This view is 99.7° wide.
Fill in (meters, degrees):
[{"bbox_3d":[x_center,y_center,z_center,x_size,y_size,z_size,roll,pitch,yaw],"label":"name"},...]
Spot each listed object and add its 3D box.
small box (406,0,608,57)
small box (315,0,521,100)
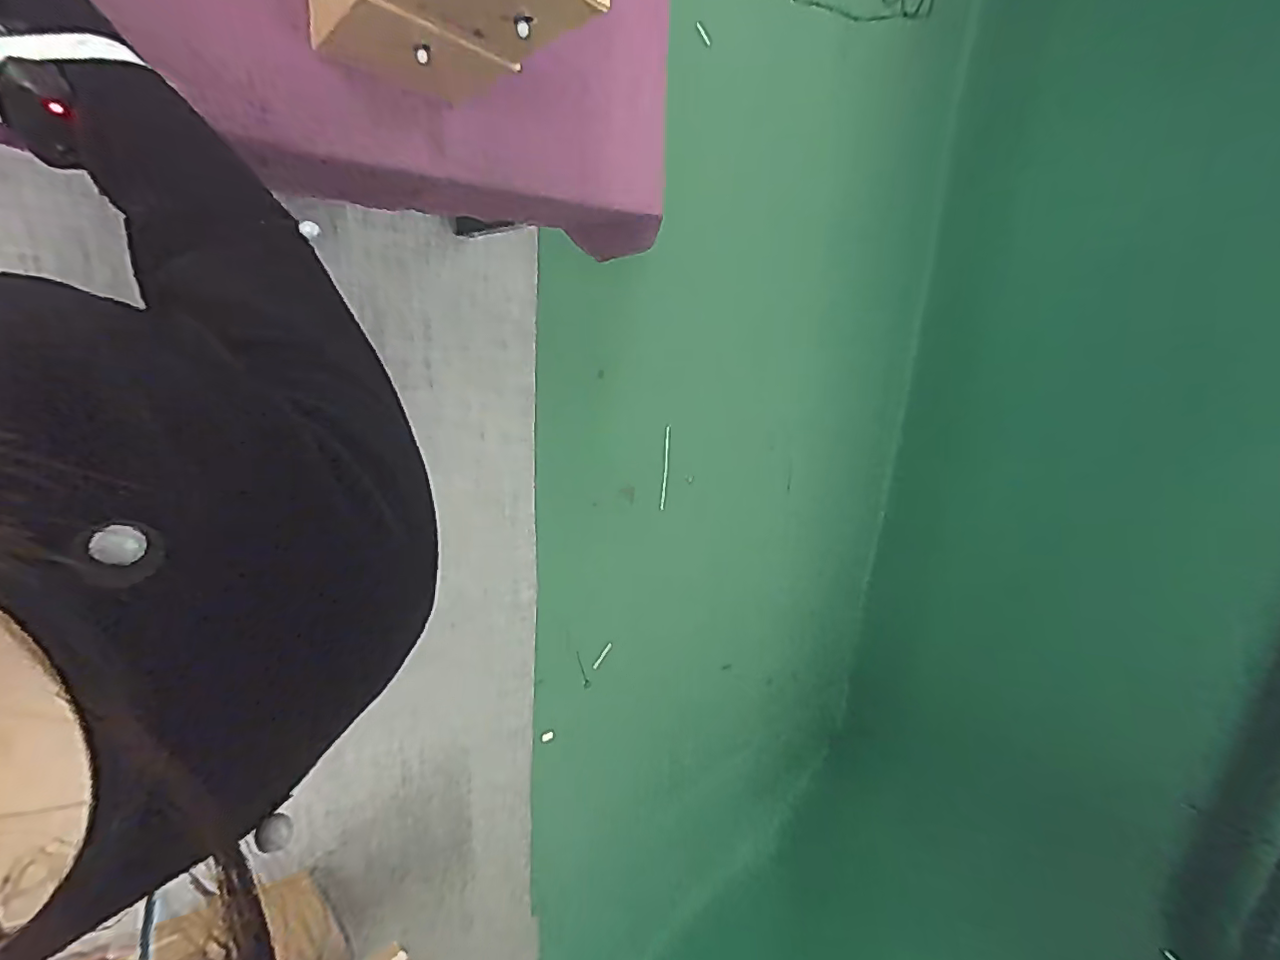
[{"bbox_3d":[-0.136,-0.528,0.482,0.168,0.176,0.179,-7,107,-43],"label":"small box"},{"bbox_3d":[-0.247,-0.556,0.597,0.179,0.176,0.168,-8,109,-43],"label":"small box"}]
